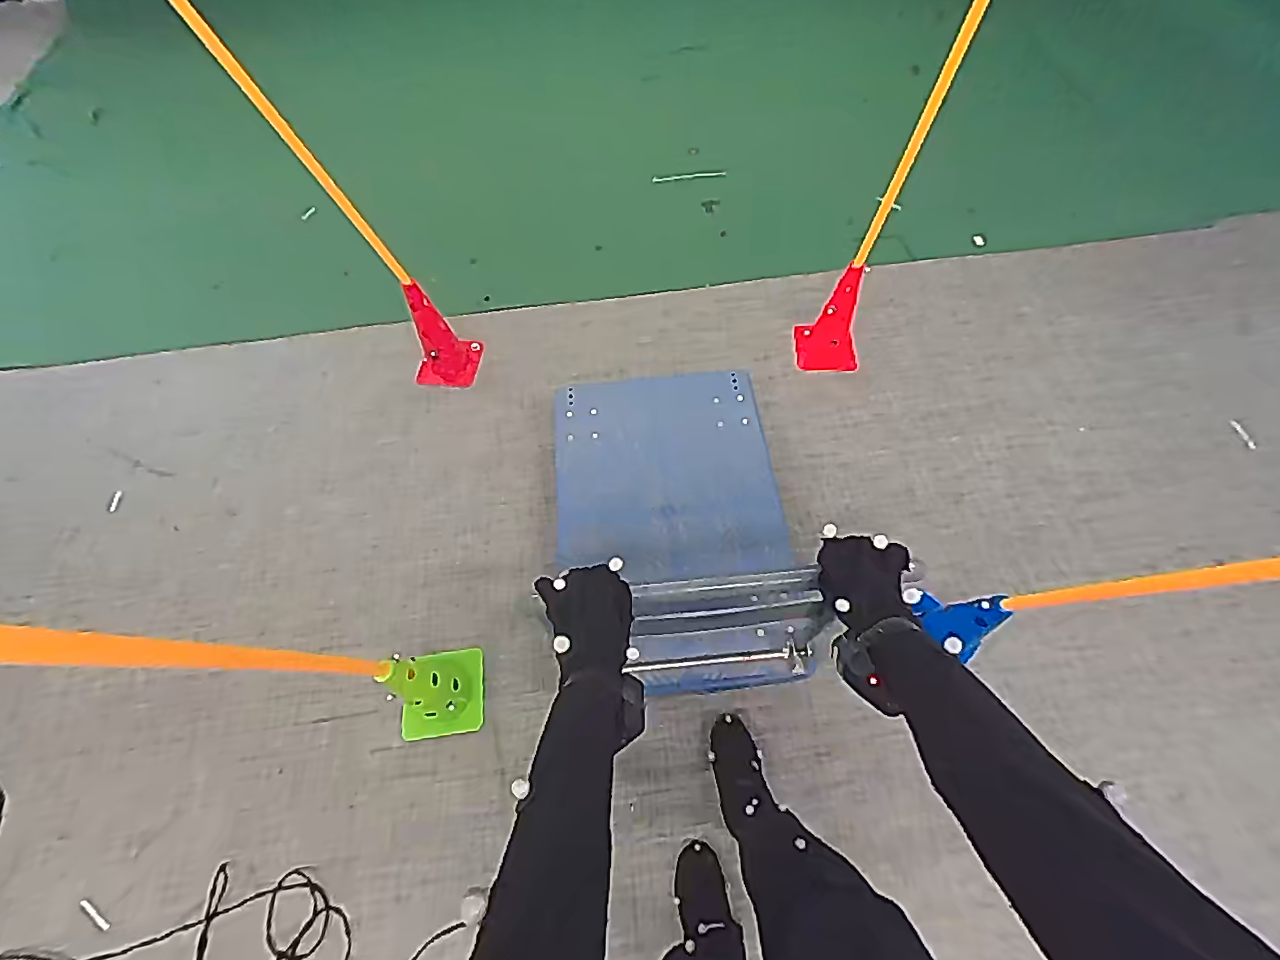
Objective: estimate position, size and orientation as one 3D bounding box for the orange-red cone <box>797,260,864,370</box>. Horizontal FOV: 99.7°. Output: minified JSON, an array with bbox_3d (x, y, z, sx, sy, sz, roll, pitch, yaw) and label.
[{"bbox_3d":[0.629,-0.529,1.687,0.198,0.360,0.199,2,63,5],"label":"orange-red cone"}]
